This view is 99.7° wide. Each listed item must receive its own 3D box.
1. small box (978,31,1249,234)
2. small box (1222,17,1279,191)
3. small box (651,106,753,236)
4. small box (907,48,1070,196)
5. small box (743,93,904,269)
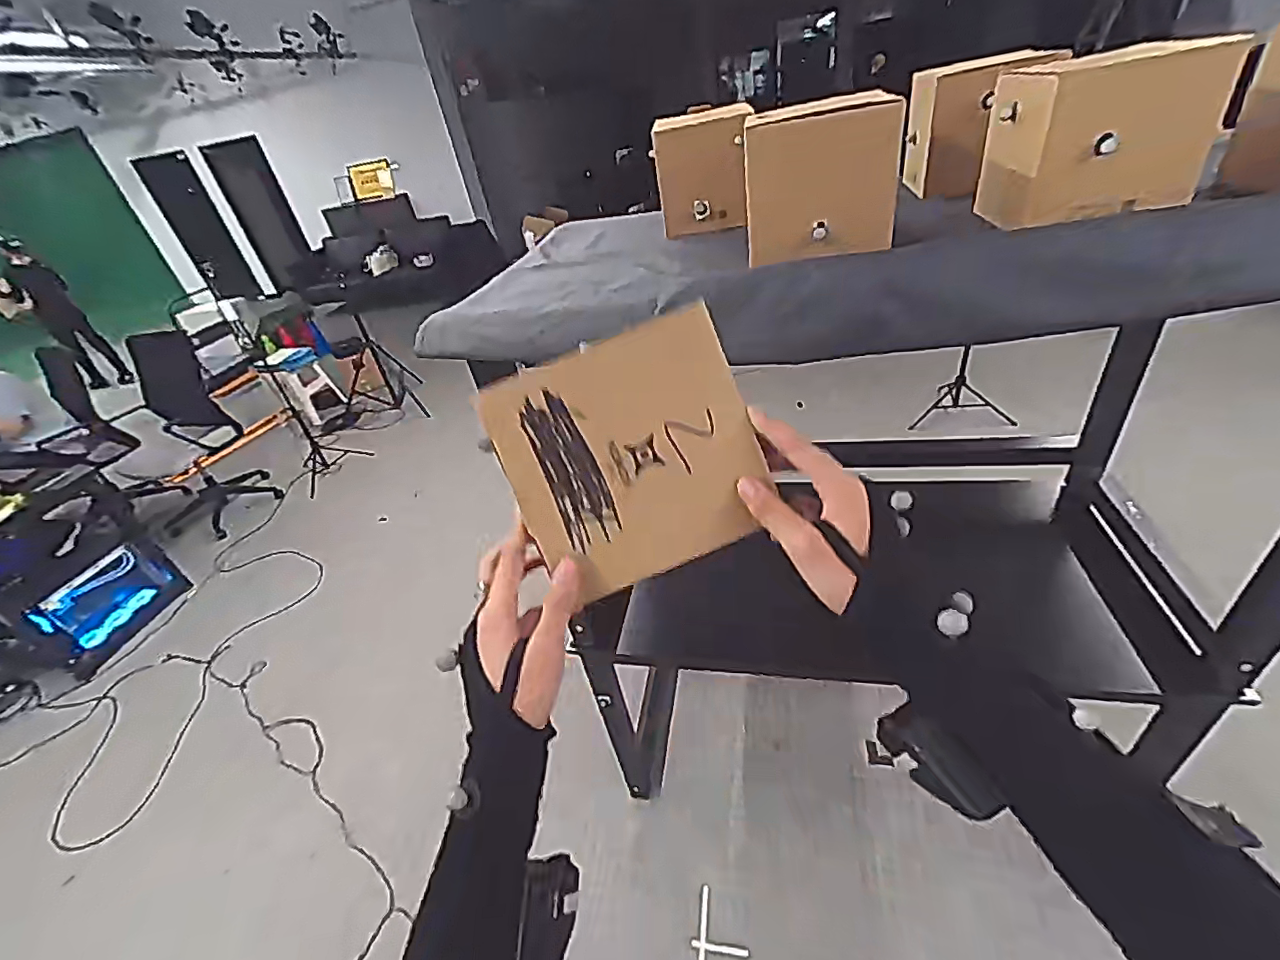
[{"bbox_3d":[0.530,-0.402,0.641,0.168,0.176,0.179,-3,35,13],"label":"small box"},{"bbox_3d":[0.794,-0.406,0.565,0.168,0.176,0.179,-5,34,10],"label":"small box"},{"bbox_3d":[0.118,-0.550,0.965,0.168,0.176,0.179,-6,36,10],"label":"small box"},{"bbox_3d":[0.541,-0.573,0.874,0.179,0.176,0.168,-1,37,15],"label":"small box"},{"bbox_3d":[0.228,-0.392,0.714,0.179,0.176,0.168,-1,36,13],"label":"small box"}]
